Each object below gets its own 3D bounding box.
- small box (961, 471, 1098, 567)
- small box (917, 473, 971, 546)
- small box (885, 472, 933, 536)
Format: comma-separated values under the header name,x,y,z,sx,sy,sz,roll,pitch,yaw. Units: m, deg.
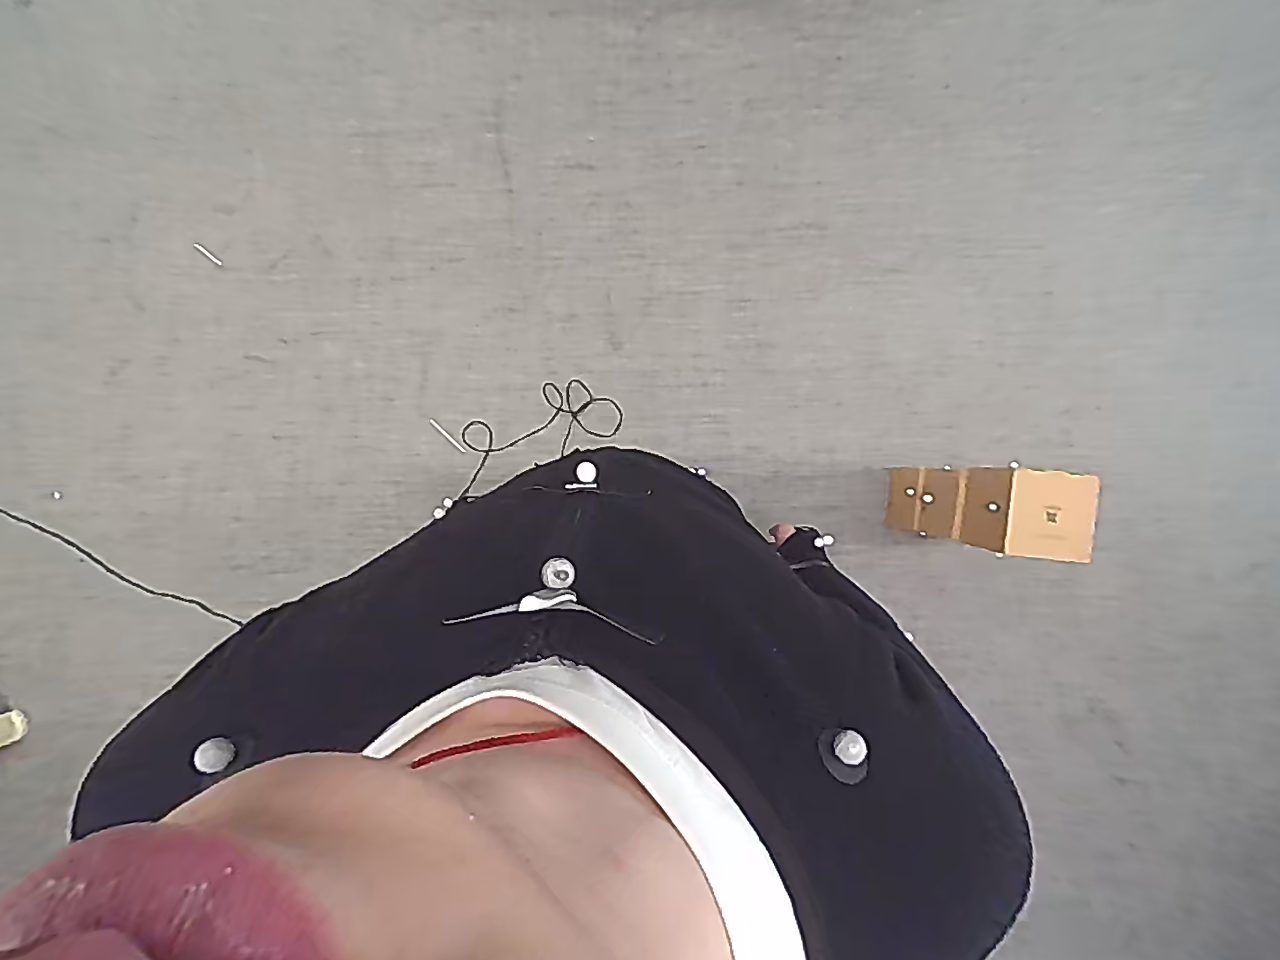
name,x,y,z,sx,sy,sz,roll,pitch,yaw
small box,0.806,0.075,1.137,0.168,0.176,0.179,6,92,3
small box,0.801,0.073,1.299,0.179,0.176,0.168,8,91,2
small box,0.796,0.068,1.464,0.179,0.176,0.168,6,92,1
